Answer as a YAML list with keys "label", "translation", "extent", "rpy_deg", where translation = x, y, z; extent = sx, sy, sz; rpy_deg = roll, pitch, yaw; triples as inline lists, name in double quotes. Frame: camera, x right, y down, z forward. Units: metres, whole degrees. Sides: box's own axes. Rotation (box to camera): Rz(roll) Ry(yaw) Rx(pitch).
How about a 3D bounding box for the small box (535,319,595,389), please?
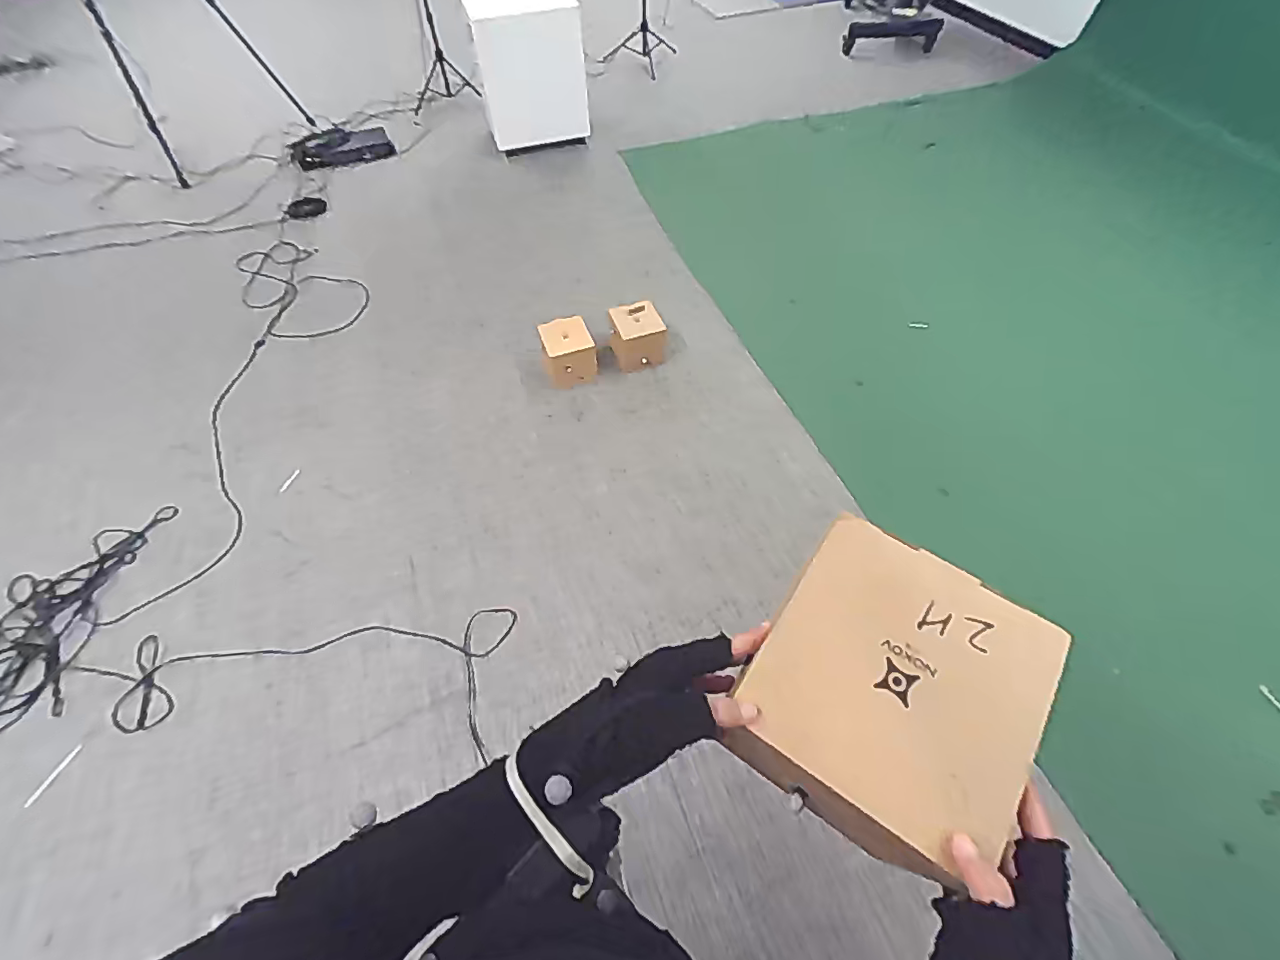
- label: "small box"
  translation: [-0.269, -0.450, 1.965]
  extent: [0.168, 0.176, 0.179]
  rpy_deg: [-18, 57, -12]

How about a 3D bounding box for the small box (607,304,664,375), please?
- label: "small box"
  translation: [-0.021, -0.521, 2.013]
  extent: [0.168, 0.176, 0.179]
  rpy_deg: [-17, 59, -12]
